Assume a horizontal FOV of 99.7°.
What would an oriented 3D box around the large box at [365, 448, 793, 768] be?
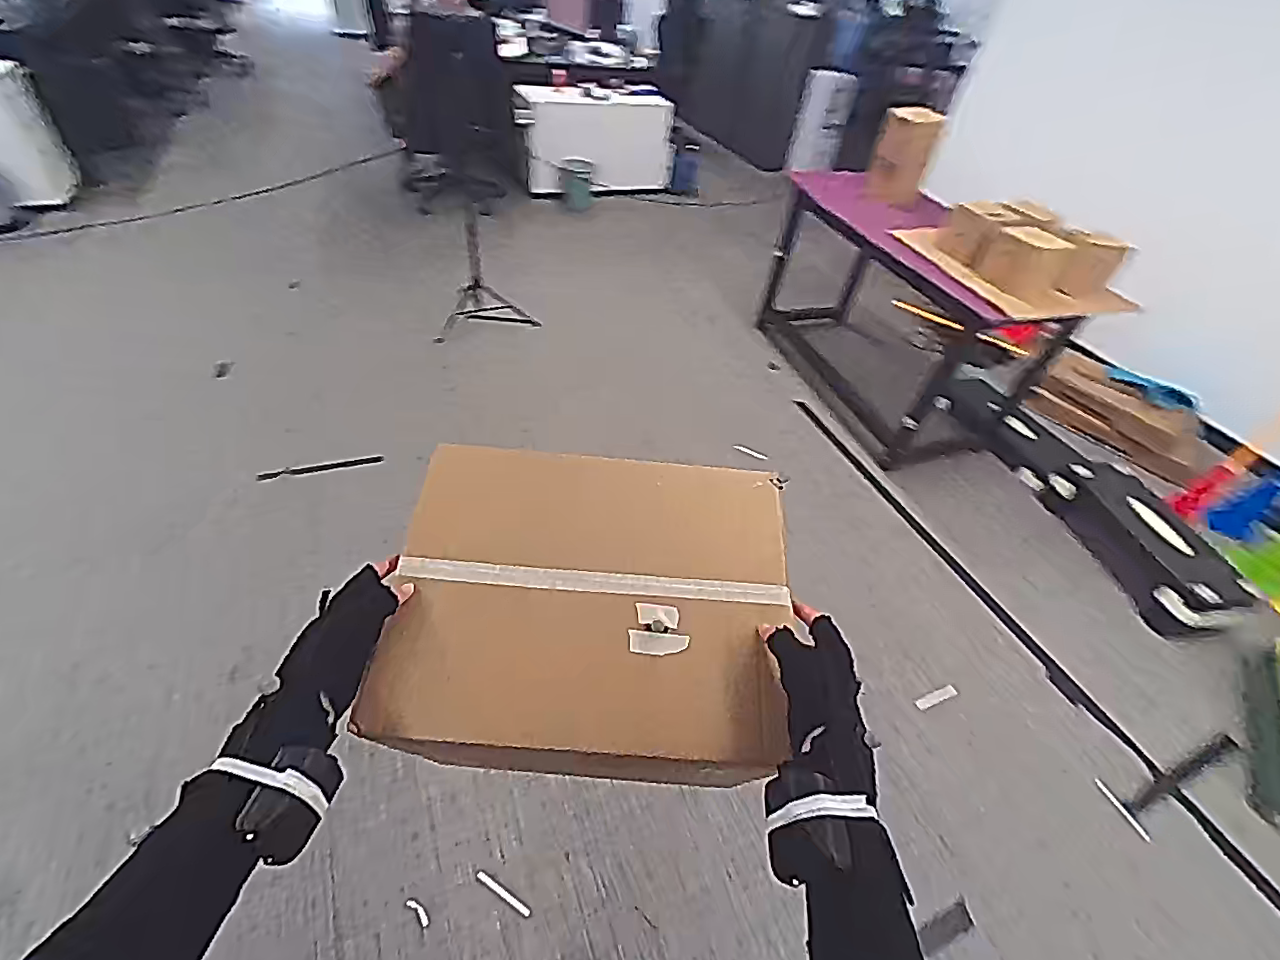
[{"bbox_3d":[-0.061,0.181,0.699,0.408,0.320,0.320,4,59,-3],"label":"large box"}]
